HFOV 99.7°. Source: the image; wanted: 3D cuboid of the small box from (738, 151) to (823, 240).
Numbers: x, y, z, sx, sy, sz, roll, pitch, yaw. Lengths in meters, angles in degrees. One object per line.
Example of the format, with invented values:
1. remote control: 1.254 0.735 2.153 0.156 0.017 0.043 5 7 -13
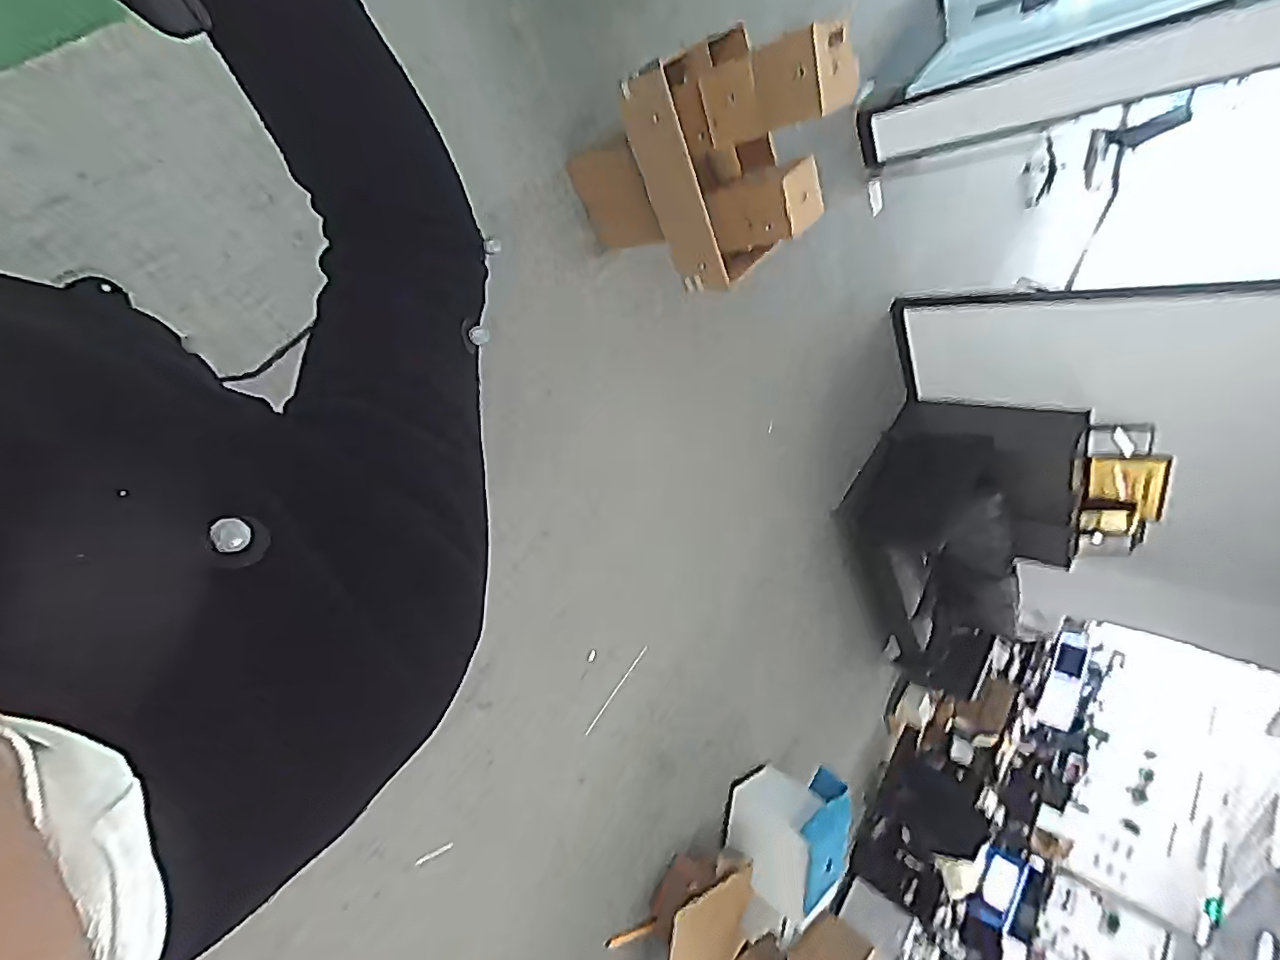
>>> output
1. small box: 0.405 -0.823 1.578 0.179 0.176 0.168 -46 129 -25

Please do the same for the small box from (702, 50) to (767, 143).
1. small box: 0.281 -1.010 1.413 0.179 0.176 0.168 -44 128 -27

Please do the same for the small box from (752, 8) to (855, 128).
1. small box: 0.389 -0.978 1.293 0.168 0.176 0.179 -41 127 -29
